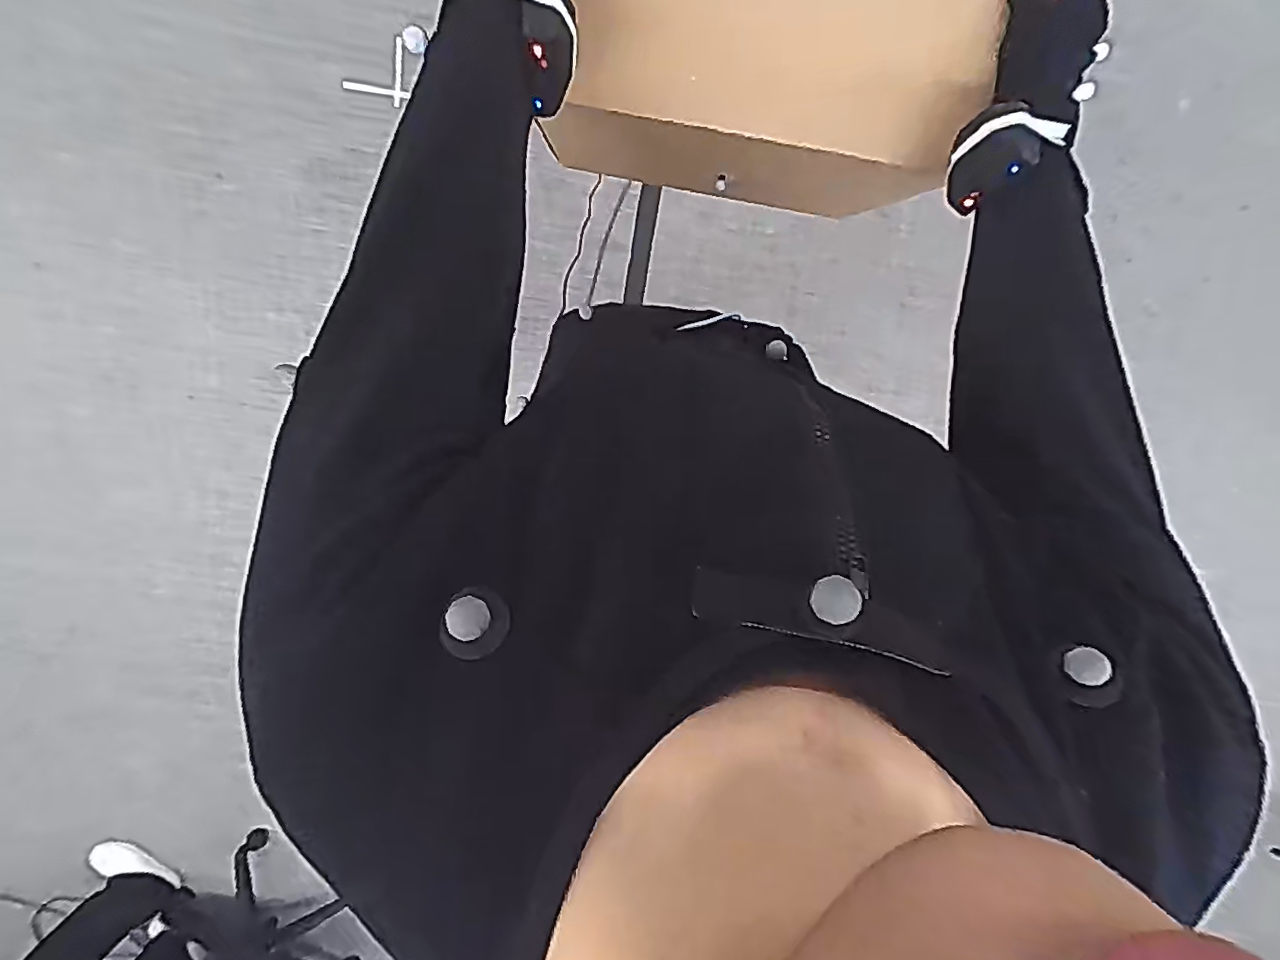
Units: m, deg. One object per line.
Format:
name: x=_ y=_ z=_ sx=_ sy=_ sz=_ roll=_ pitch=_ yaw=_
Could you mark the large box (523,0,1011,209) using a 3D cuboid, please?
large box: x=0.117 y=-0.499 z=0.568 sx=0.408 sy=0.320 sz=0.320 roll=9 pitch=108 yaw=-4
